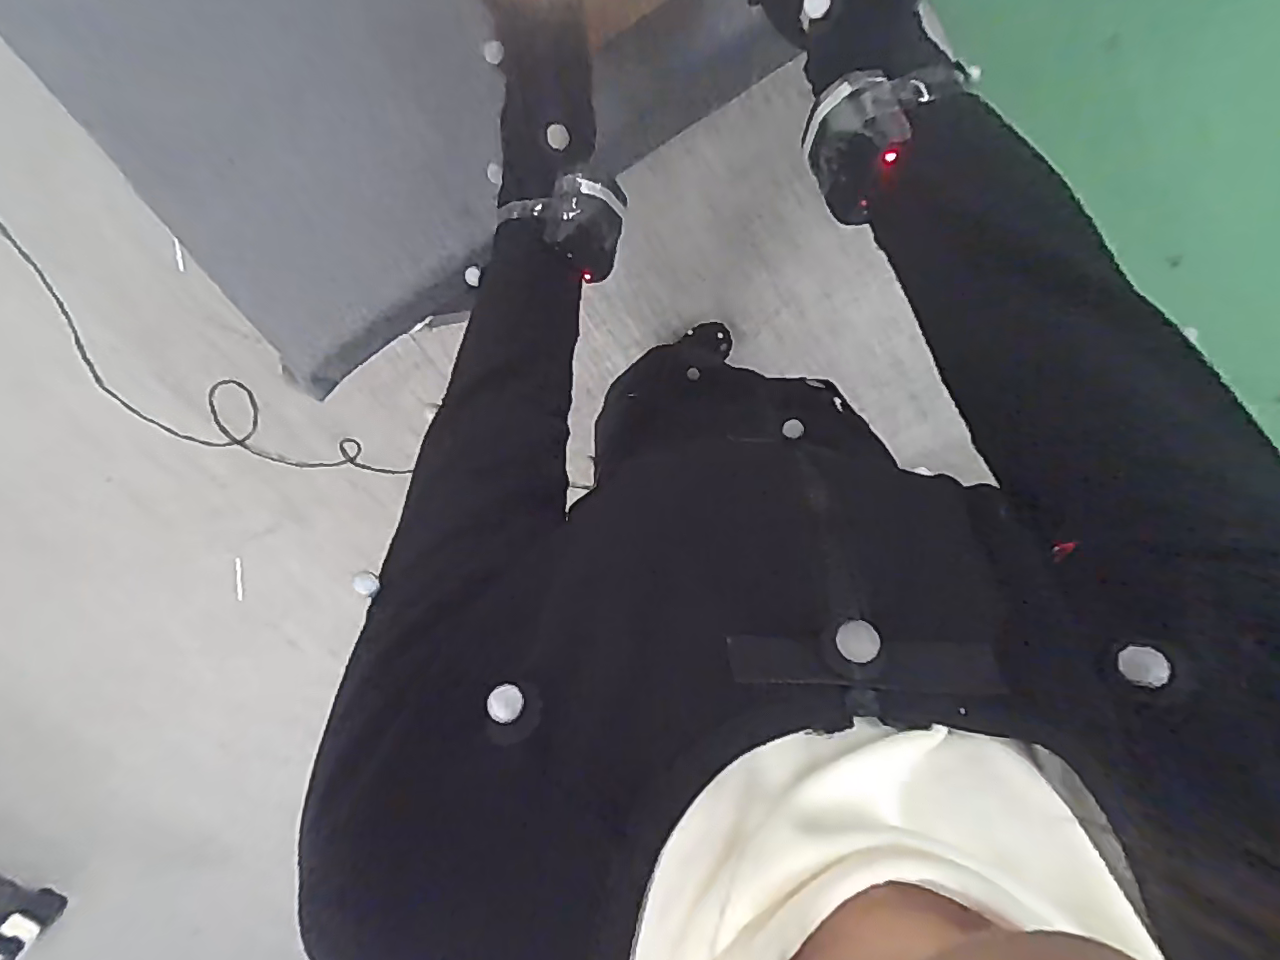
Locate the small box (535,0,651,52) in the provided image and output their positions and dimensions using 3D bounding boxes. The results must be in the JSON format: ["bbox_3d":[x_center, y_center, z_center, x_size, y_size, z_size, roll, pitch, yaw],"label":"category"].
[{"bbox_3d":[-0.040,-0.486,0.420,0.179,0.176,0.168,-27,111,13],"label":"small box"}]
